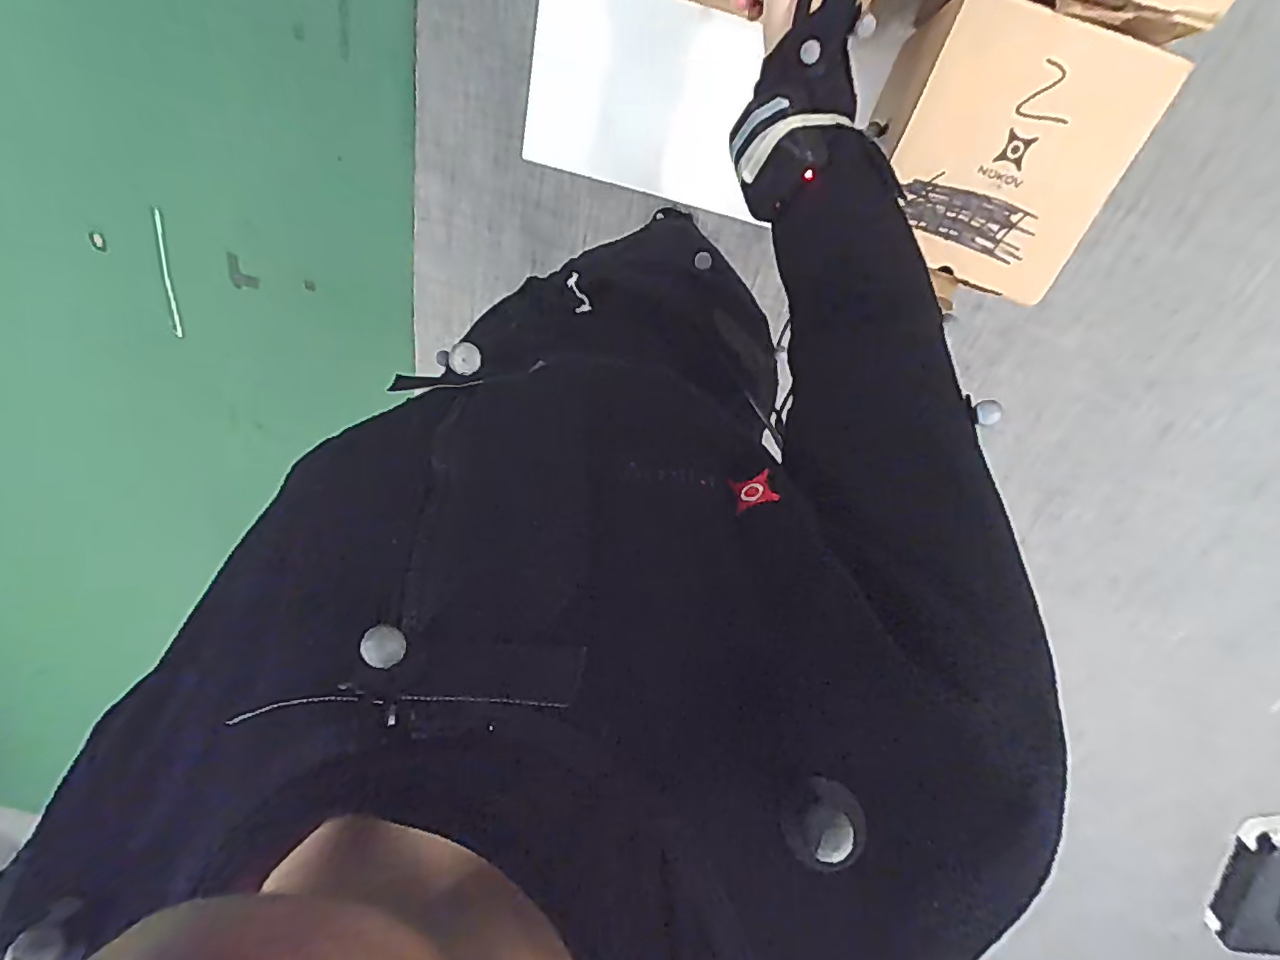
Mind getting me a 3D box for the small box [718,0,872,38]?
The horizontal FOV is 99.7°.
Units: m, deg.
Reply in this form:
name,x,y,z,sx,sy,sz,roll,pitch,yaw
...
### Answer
name,x,y,z,sx,sy,sz,roll,pitch,yaw
small box,0.130,-0.474,0.385,0.168,0.176,0.179,17,109,0
